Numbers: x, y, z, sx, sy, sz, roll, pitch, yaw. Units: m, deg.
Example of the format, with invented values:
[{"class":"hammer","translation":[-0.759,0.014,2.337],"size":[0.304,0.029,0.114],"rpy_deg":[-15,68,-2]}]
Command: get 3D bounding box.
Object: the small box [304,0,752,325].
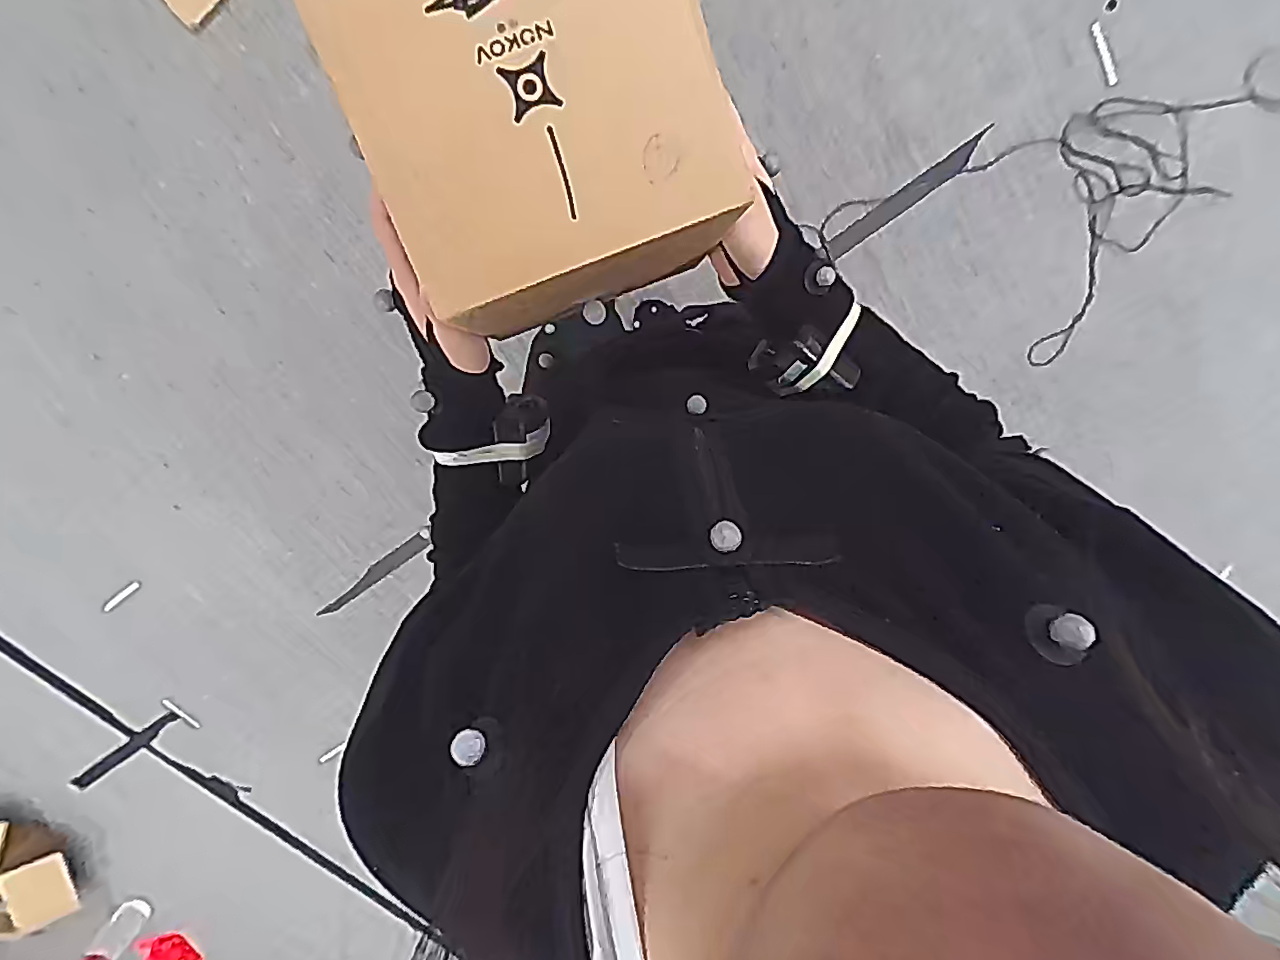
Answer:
[{"class":"small box","translation":[-0.057,-0.205,0.314],"size":[0.168,0.176,0.179],"rpy_deg":[-20,102,1]}]
